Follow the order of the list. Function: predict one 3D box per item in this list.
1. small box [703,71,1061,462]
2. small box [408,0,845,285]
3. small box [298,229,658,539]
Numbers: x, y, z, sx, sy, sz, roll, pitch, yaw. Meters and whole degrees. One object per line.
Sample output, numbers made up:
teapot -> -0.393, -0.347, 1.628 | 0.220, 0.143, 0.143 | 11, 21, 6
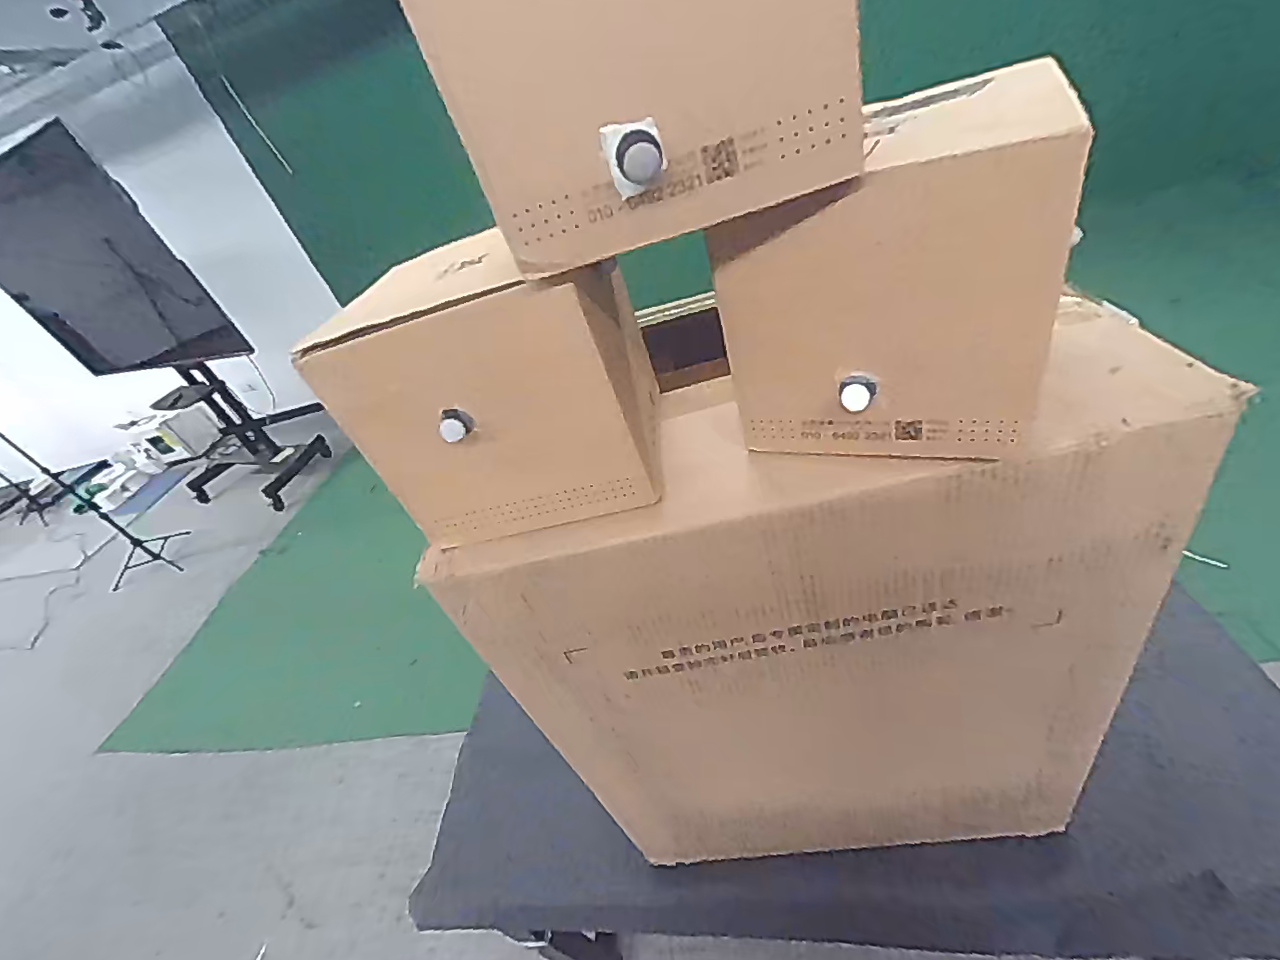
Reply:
small box -> 0.154, -0.133, 0.356 | 0.168, 0.176, 0.179 | 3, 44, 29
small box -> -0.006, -0.225, 0.279 | 0.168, 0.176, 0.179 | -16, 38, 10
small box -> -0.094, -0.076, 0.409 | 0.179, 0.176, 0.168 | -14, 38, 12
